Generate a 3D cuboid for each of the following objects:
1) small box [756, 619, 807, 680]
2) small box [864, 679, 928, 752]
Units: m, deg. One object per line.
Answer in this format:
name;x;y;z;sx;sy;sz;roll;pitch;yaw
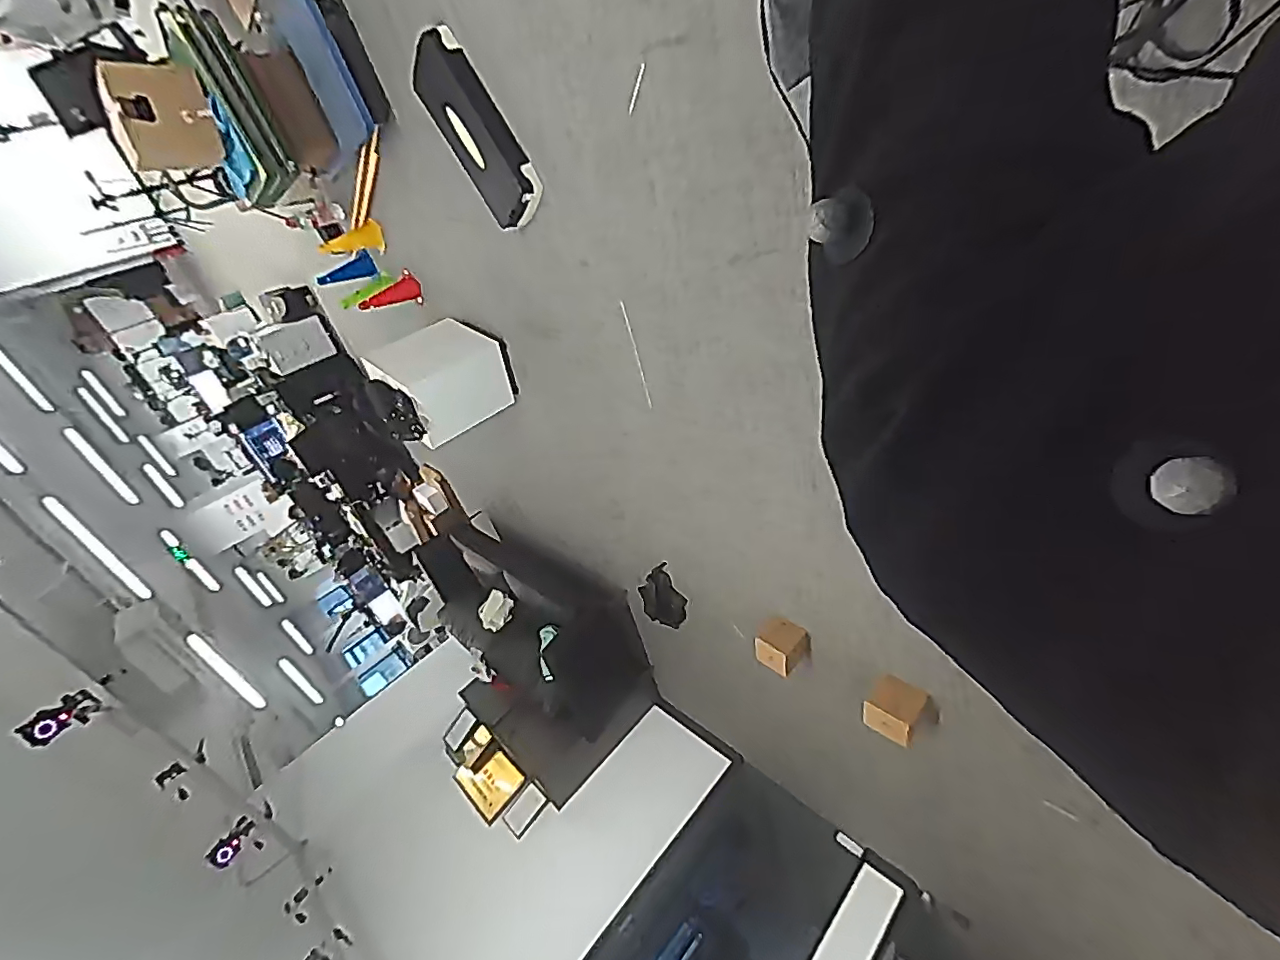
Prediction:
small box;0.655;0.777;2.498;0.168;0.176;0.179;27;142;40
small box;1.015;0.926;2.149;0.179;0.176;0.168;22;138;42
